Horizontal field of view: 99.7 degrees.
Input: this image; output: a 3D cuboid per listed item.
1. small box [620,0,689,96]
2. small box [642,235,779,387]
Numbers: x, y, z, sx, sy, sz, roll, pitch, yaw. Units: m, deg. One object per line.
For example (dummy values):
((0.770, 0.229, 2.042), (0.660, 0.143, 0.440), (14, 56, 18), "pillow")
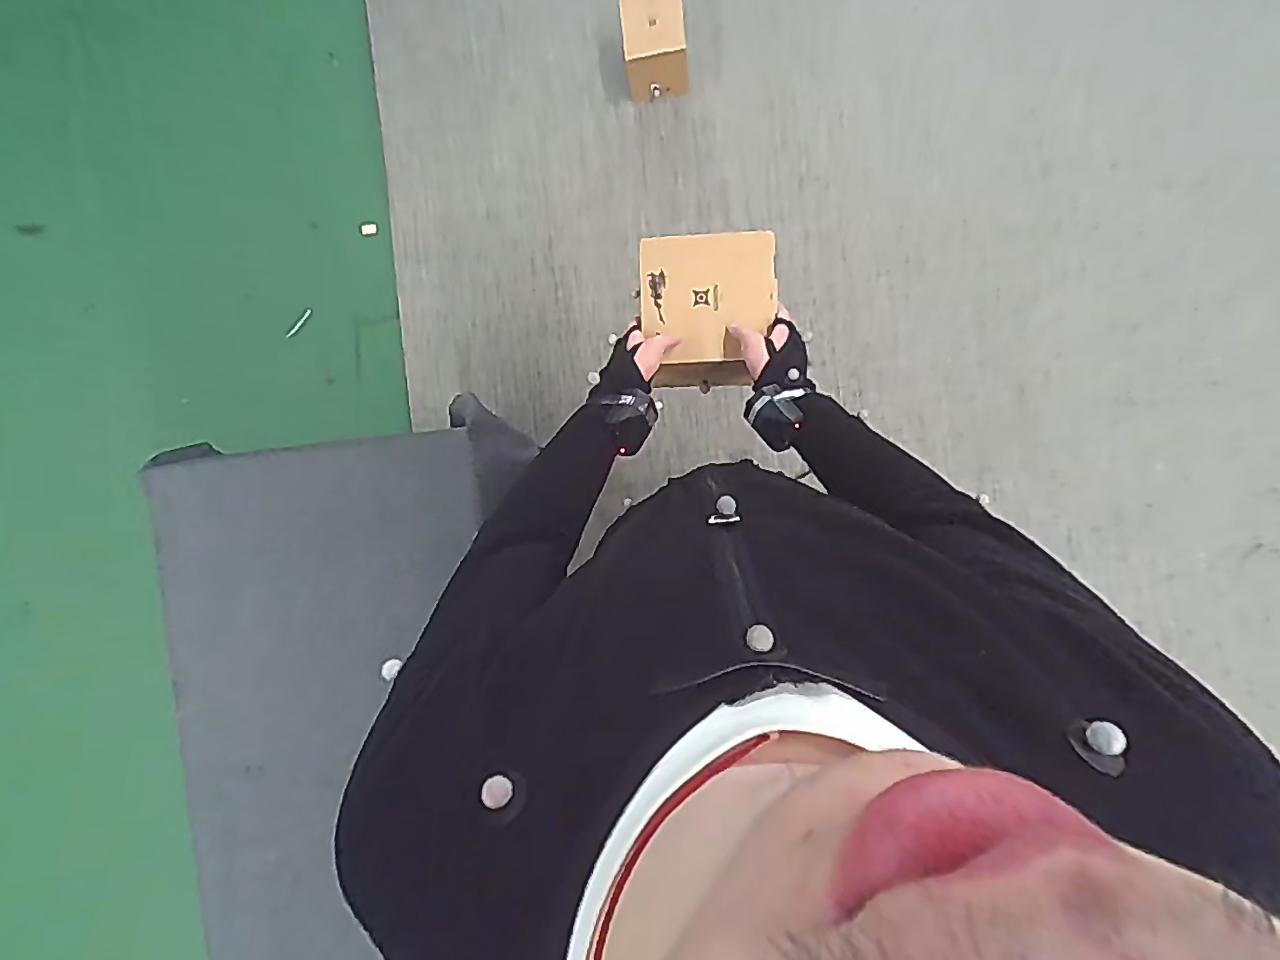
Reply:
((0.043, -1.194, 1.465), (0.168, 0.176, 0.179), (-4, 91, 9), "small box")
((0.092, -0.230, 0.771), (0.179, 0.176, 0.168), (-1, 89, 3), "small box")
